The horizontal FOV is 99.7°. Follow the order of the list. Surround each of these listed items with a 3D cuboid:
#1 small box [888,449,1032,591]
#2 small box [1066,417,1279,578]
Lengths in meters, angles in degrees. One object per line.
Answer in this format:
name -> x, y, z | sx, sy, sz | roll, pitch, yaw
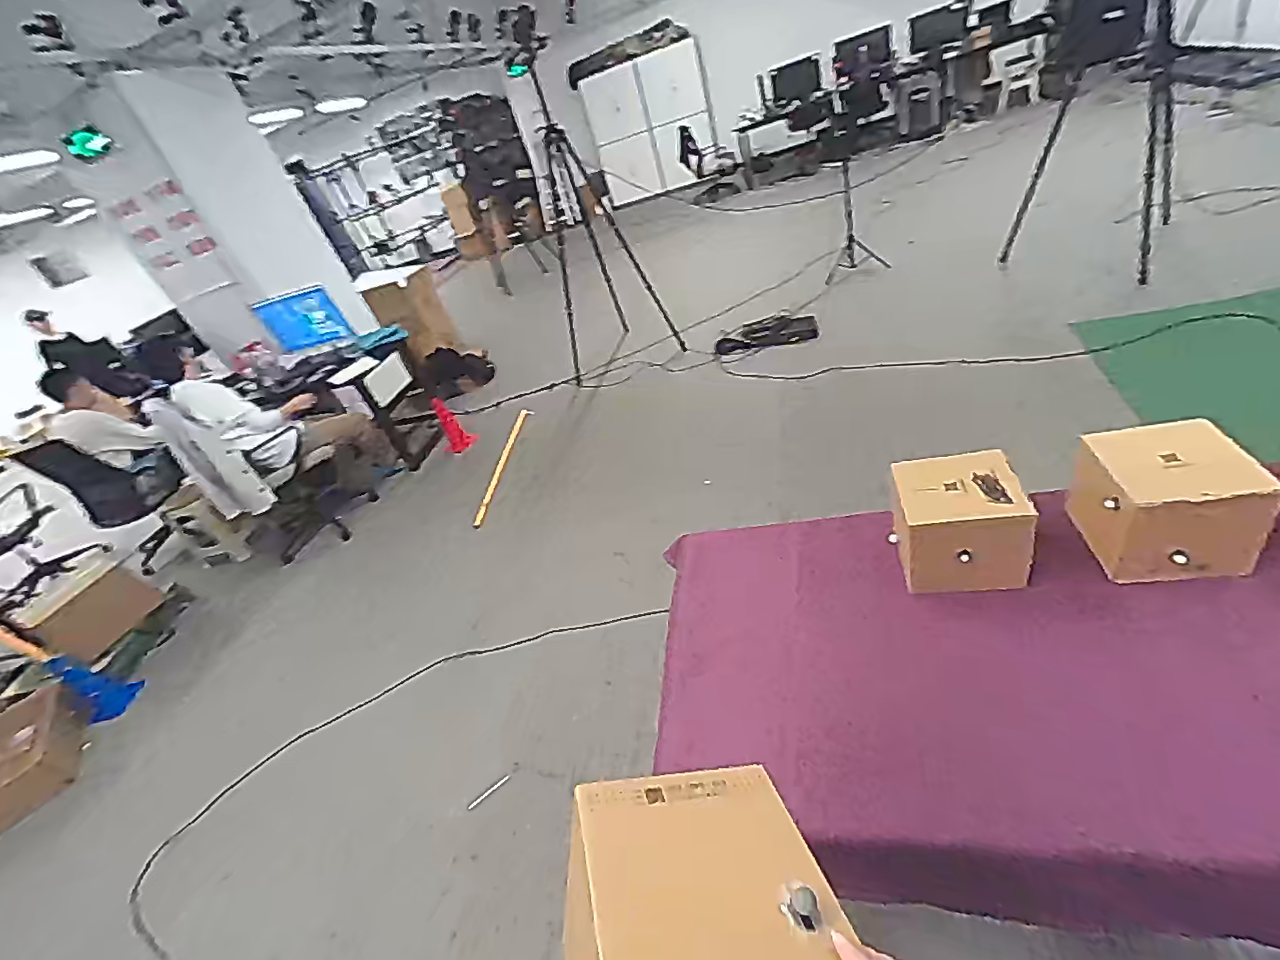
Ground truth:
small box -> 0.533, 0.072, 0.924 | 0.179, 0.176, 0.168 | -9, 36, 20
small box -> 0.799, 0.028, 0.840 | 0.168, 0.176, 0.179 | -9, 37, 18
